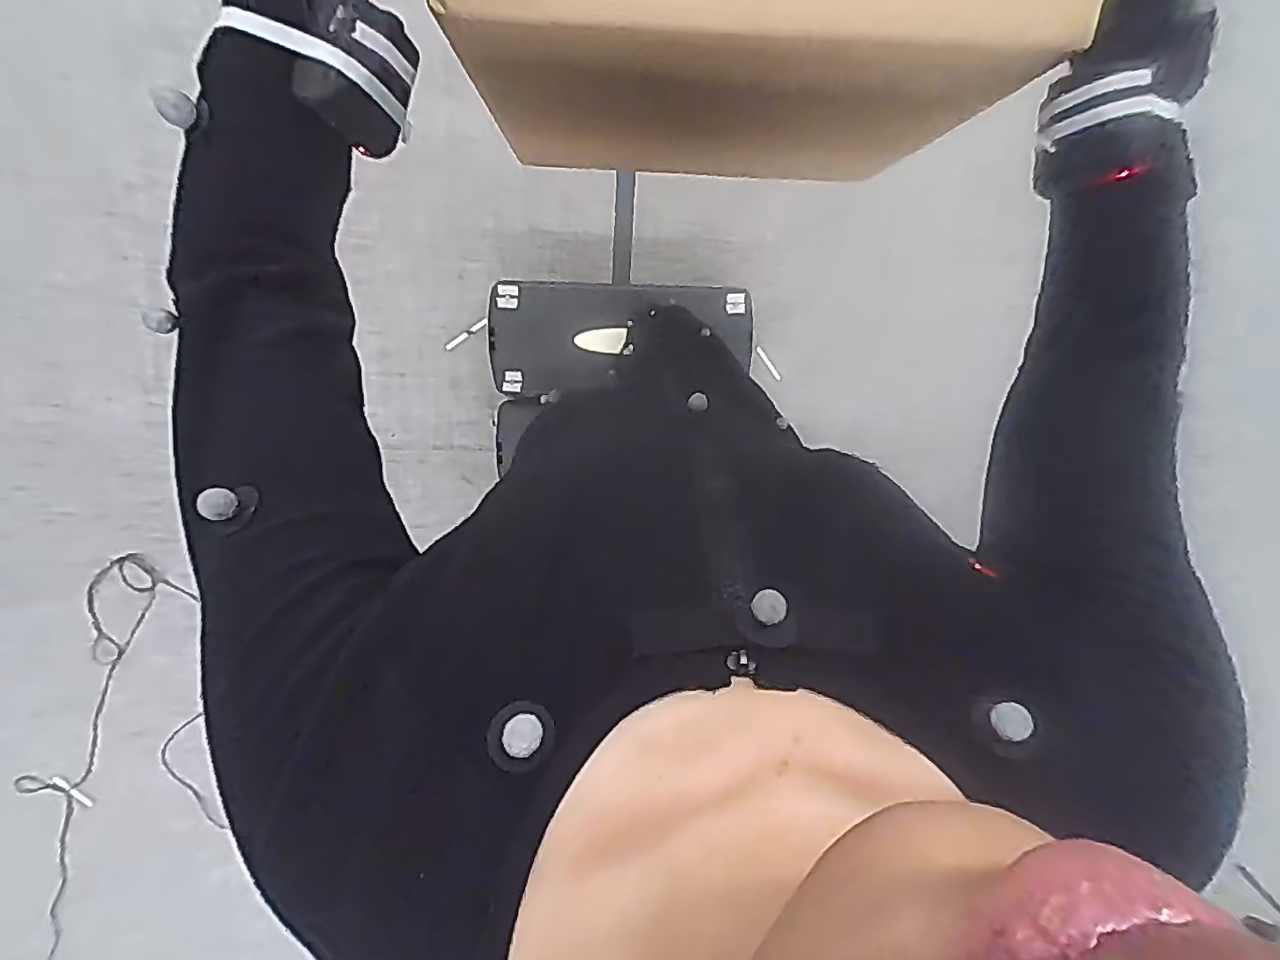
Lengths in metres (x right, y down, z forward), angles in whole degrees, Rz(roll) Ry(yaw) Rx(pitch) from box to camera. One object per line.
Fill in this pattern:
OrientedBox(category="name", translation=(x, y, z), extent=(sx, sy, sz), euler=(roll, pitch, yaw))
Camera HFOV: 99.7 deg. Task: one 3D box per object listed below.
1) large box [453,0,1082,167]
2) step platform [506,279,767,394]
OrientedBox(category="large box", translation=(0.074, -0.470, 0.441), extent=(0.408, 0.320, 0.320), euler=(0, 106, -3))
OrientedBox(category="step platform", translation=(-0.010, -0.380, 1.447), extent=(0.684, 0.204, 0.286), euler=(-2, 103, -6))
